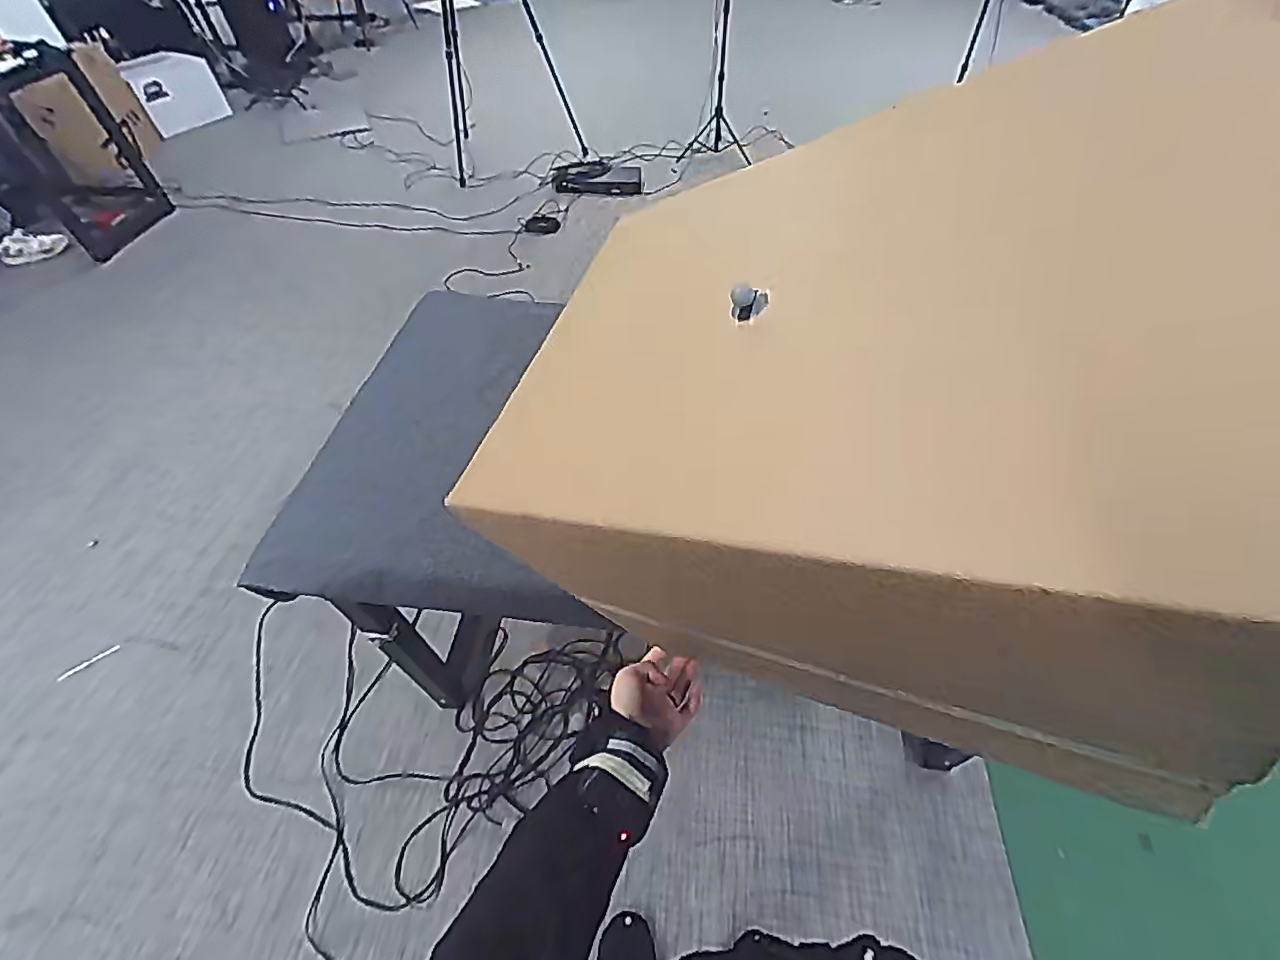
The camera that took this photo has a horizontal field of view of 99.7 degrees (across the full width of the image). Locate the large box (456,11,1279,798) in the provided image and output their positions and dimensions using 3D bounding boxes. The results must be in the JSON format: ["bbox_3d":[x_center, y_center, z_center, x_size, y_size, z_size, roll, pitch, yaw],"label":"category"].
[{"bbox_3d":[0.148,-0.013,0.408,0.408,0.320,0.320,2,59,40],"label":"large box"}]
